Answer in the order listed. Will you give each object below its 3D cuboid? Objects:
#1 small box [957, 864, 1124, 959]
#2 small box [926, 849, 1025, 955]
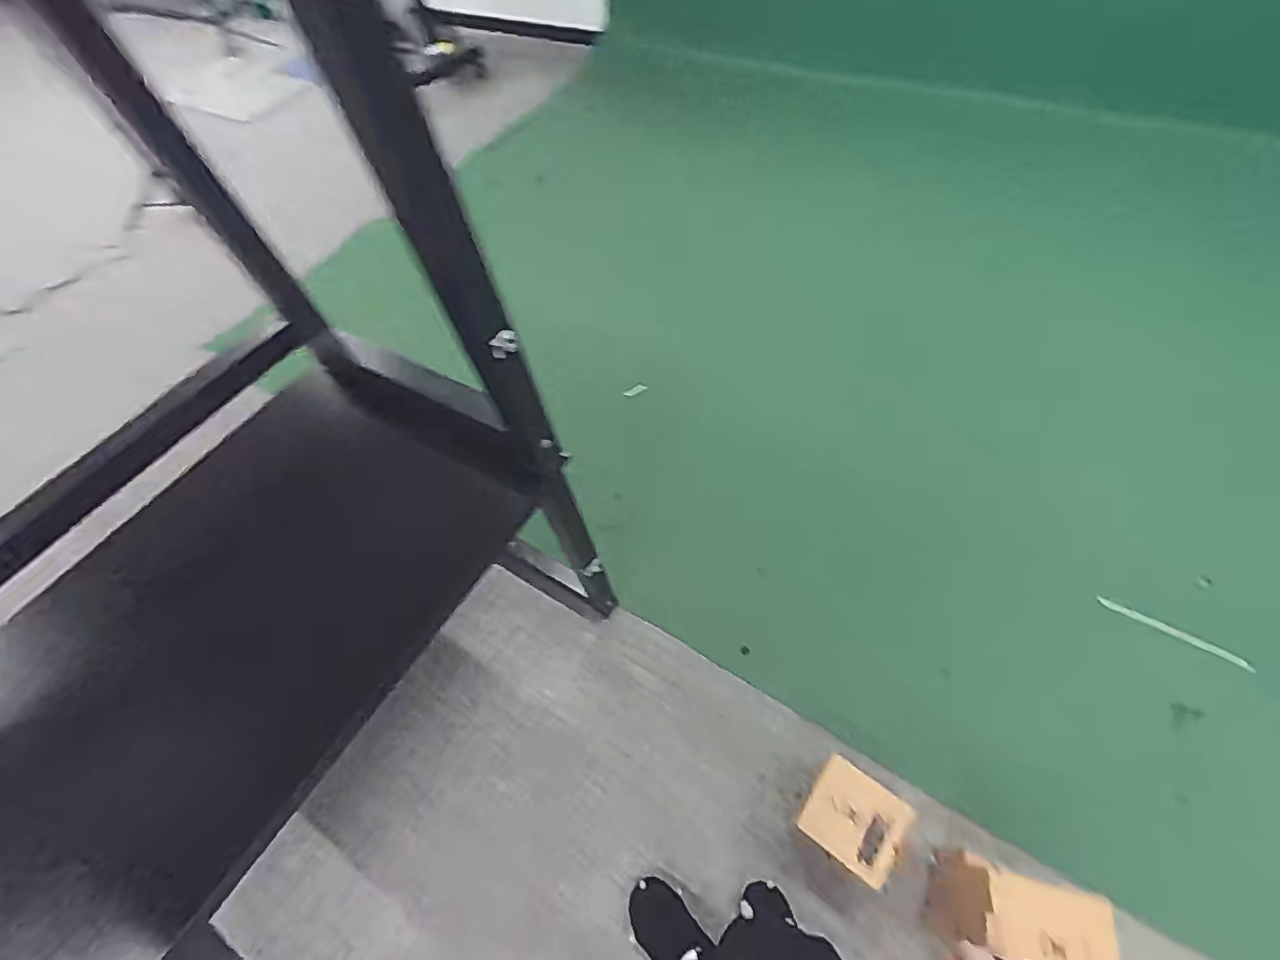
[{"bbox_3d":[0.636,0.744,0.877,0.179,0.176,0.168,8,61,11],"label":"small box"},{"bbox_3d":[0.666,0.825,1.015,0.179,0.176,0.168,20,63,17],"label":"small box"}]
